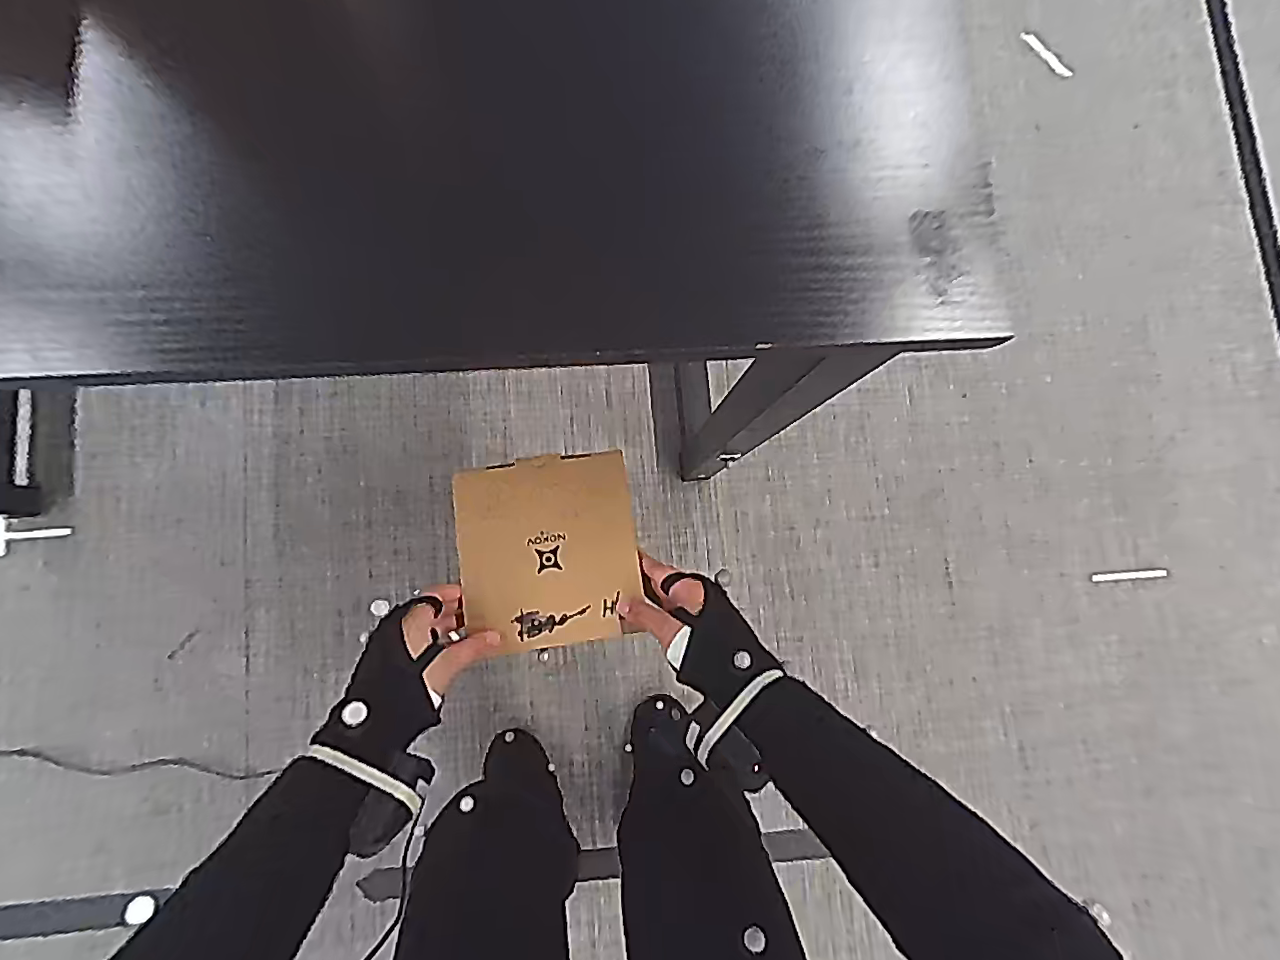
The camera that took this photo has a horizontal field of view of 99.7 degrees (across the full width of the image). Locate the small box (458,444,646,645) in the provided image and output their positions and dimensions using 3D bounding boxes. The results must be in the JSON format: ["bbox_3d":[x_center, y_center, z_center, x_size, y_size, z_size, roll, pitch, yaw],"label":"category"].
[{"bbox_3d":[-0.090,0.074,0.589,0.168,0.176,0.179,-8,79,-4],"label":"small box"}]
